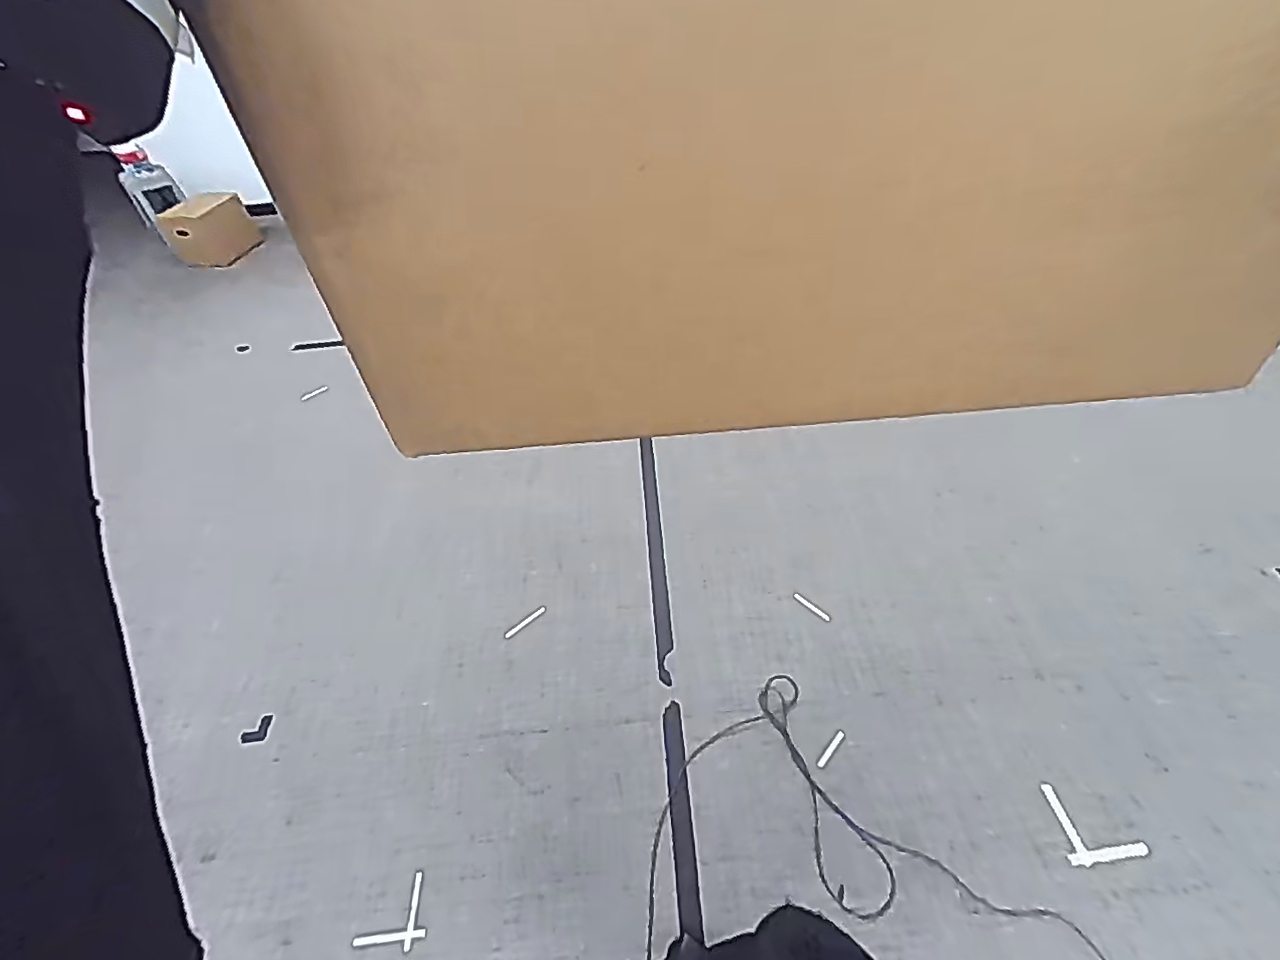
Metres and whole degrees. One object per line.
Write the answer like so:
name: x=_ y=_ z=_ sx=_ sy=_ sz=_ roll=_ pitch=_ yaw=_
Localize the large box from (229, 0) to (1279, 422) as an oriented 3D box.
large box: x=0.064 y=-0.251 z=0.276 sx=0.408 sy=0.320 sz=0.320 roll=-4 pitch=43 yaw=0
